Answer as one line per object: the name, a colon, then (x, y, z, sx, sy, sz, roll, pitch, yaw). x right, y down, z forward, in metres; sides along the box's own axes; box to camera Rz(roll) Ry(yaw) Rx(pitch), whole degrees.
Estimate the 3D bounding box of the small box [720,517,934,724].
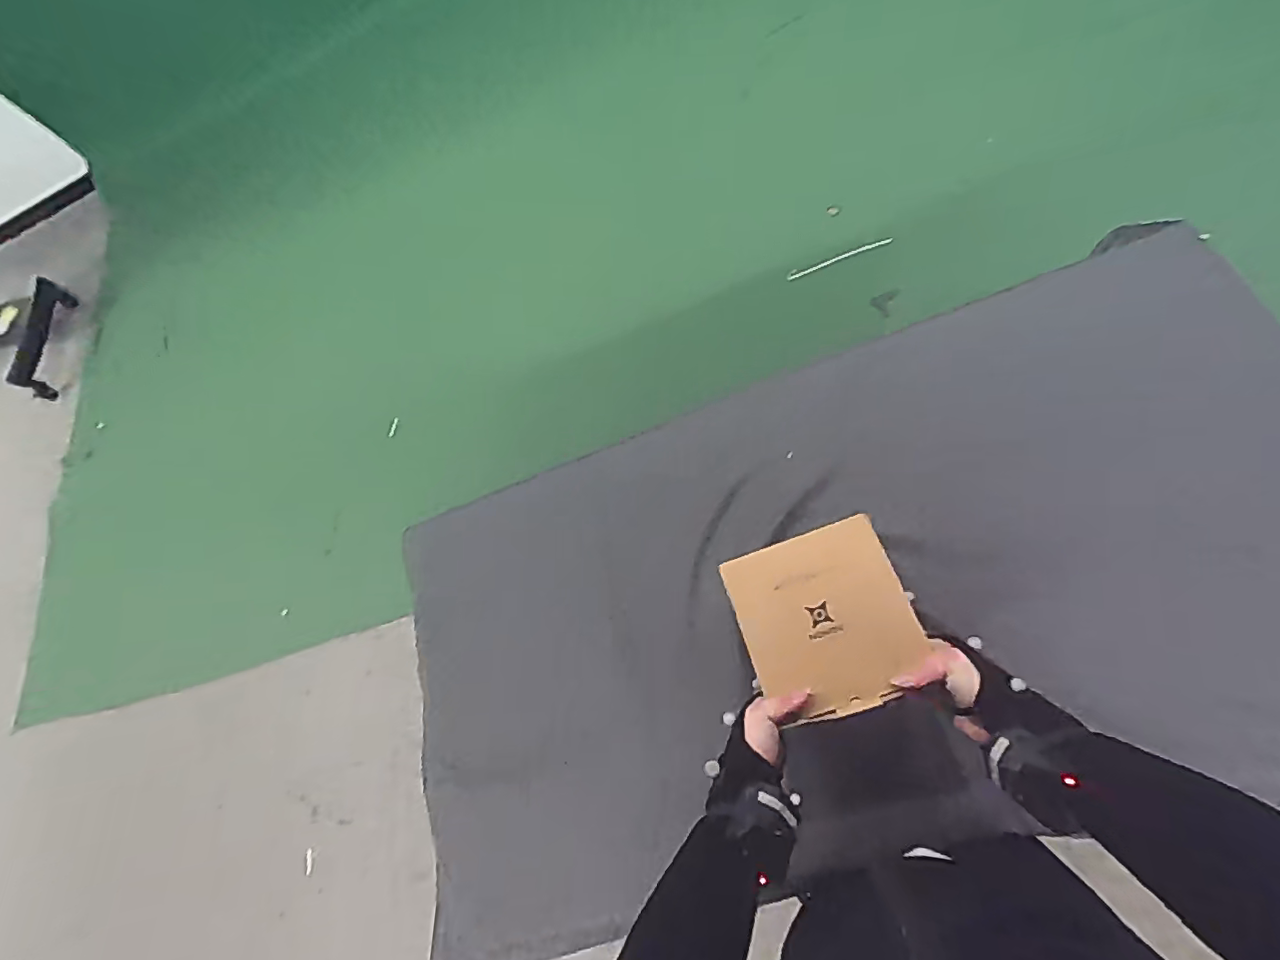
small box: (0.204, 0.166, 0.626, 0.168, 0.176, 0.179, -19, 66, 7)
